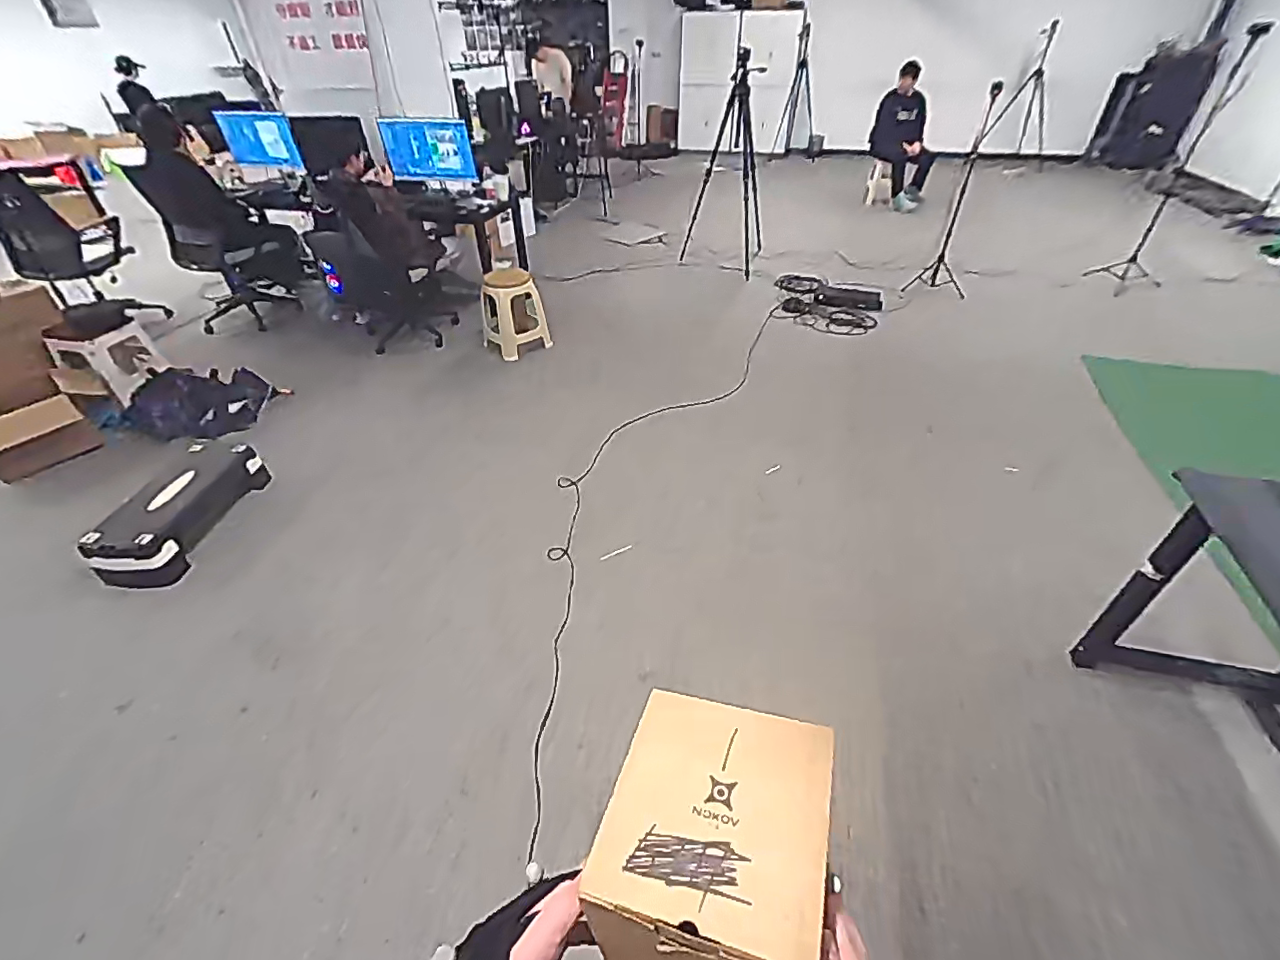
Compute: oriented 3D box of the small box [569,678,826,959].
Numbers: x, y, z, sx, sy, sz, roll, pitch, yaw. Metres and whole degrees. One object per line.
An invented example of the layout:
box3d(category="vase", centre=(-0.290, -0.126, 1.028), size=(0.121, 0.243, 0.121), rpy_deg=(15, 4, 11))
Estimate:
box3d(category="small box", centre=(0.064, 0.308, 0.460), size=(0.168, 0.176, 0.179), rpy_deg=(5, 34, 21))
